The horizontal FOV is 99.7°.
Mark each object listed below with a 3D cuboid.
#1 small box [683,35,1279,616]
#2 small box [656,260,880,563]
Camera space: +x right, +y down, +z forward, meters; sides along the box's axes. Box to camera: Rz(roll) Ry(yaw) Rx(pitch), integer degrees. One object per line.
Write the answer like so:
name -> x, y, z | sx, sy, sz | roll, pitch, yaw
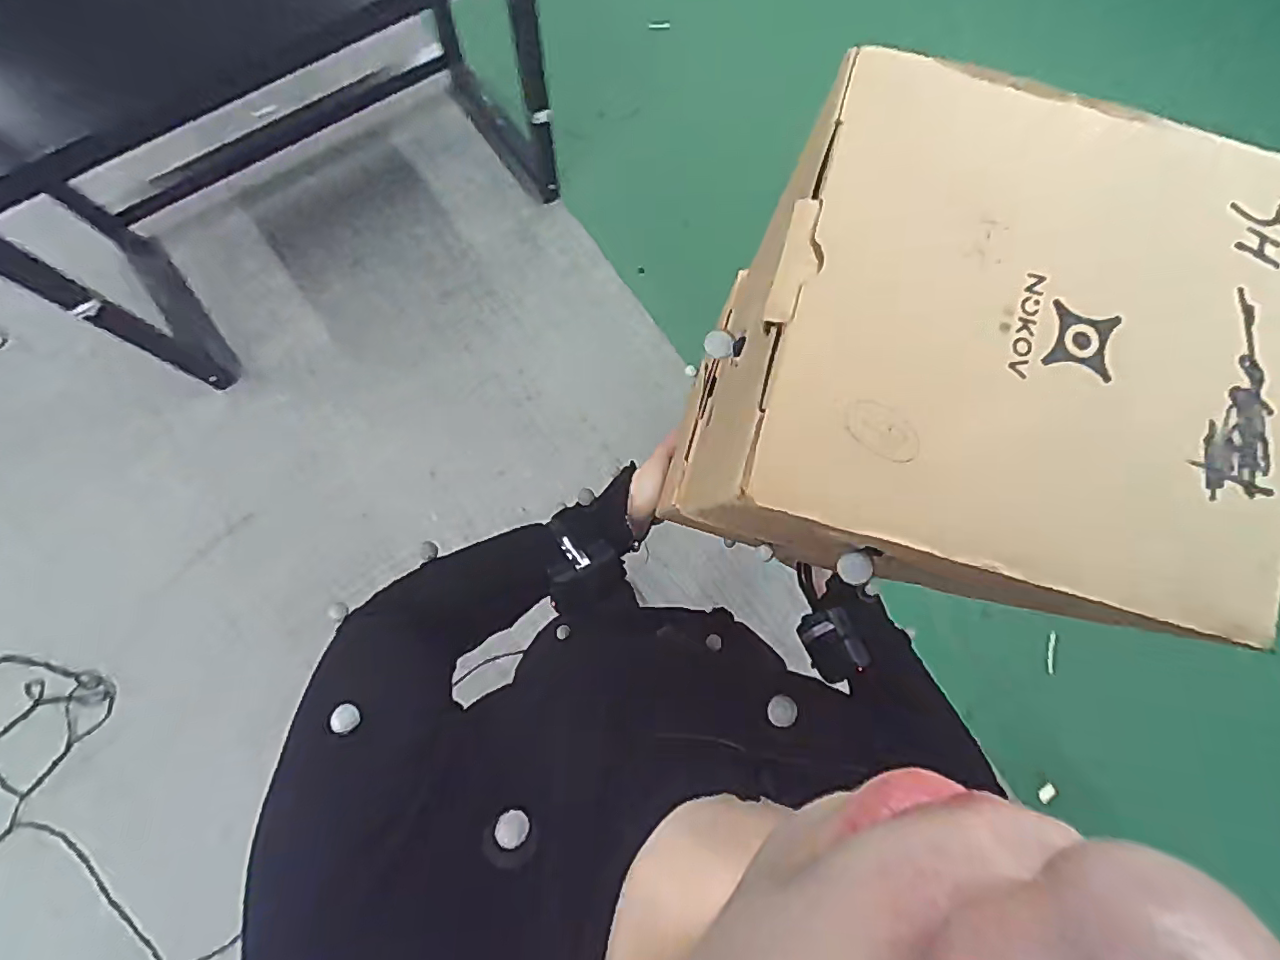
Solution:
small box -> 0.126, -0.047, 0.258 | 0.179, 0.176, 0.168 | 15, 84, 0
small box -> 0.117, -0.035, 0.421 | 0.179, 0.176, 0.168 | 16, 84, -1
